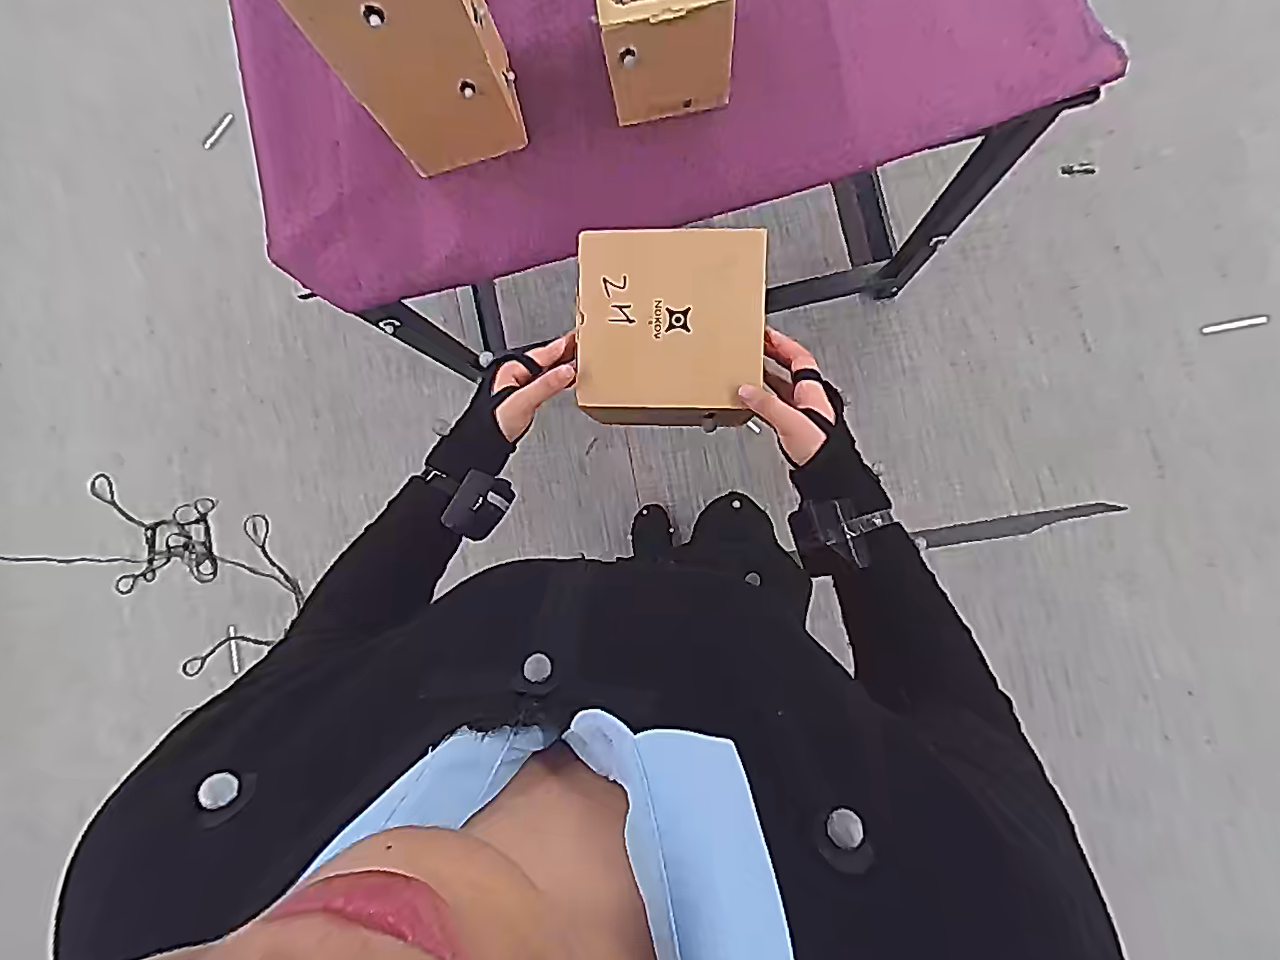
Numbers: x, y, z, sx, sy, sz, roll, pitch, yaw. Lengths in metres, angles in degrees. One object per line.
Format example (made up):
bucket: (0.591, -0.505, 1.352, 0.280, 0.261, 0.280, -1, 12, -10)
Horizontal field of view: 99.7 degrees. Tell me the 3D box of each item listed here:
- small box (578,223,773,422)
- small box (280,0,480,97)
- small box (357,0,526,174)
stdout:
small box: (0.037, -0.154, 0.577, 0.179, 0.176, 0.168, 2, 90, 5)
small box: (-0.293, -0.577, 0.597, 0.179, 0.176, 0.168, -14, 85, 5)
small box: (-0.281, -0.571, 0.761, 0.179, 0.176, 0.168, -14, 85, 4)
